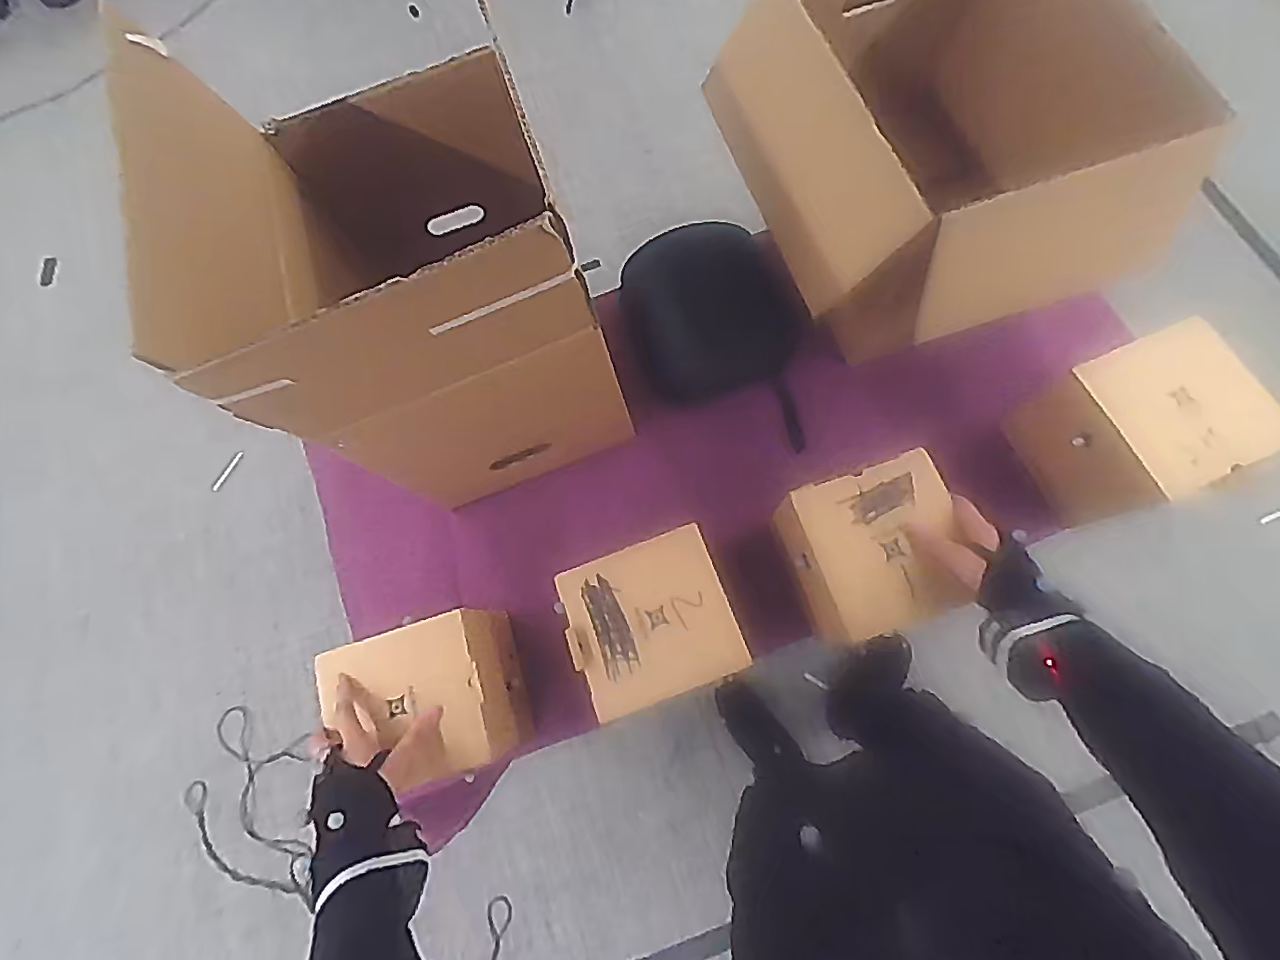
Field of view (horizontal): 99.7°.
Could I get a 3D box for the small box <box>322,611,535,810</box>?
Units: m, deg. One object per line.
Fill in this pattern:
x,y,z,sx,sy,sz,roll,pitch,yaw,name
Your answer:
-0.248,0.270,0.663,0.179,0.176,0.168,-18,74,-2,small box

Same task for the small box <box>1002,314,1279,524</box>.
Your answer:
0.606,-0.065,0.674,0.168,0.176,0.179,-24,74,0,small box
